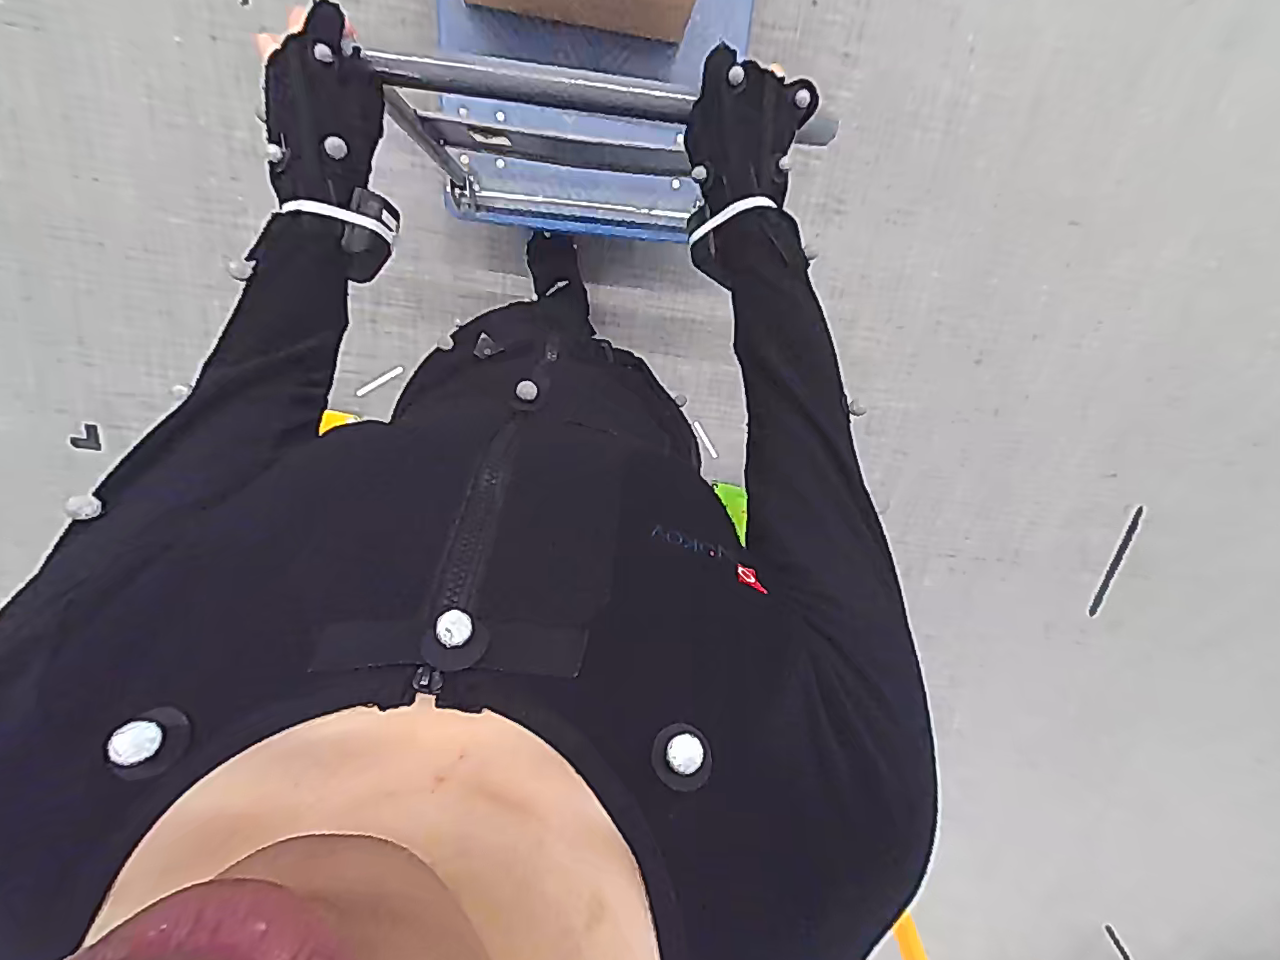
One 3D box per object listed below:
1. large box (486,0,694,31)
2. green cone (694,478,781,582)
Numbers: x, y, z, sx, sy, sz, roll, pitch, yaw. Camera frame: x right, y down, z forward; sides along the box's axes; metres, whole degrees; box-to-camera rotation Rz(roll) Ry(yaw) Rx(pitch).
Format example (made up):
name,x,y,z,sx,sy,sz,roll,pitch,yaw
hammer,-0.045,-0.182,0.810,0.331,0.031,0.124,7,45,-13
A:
name,x,y,z,sx,sy,sz,roll,pitch,yaw
large box,-0.090,-0.951,0.819,0.408,0.320,0.320,6,110,-6
green cone,0.286,0.160,1.412,0.202,0.368,0.200,10,109,-9
